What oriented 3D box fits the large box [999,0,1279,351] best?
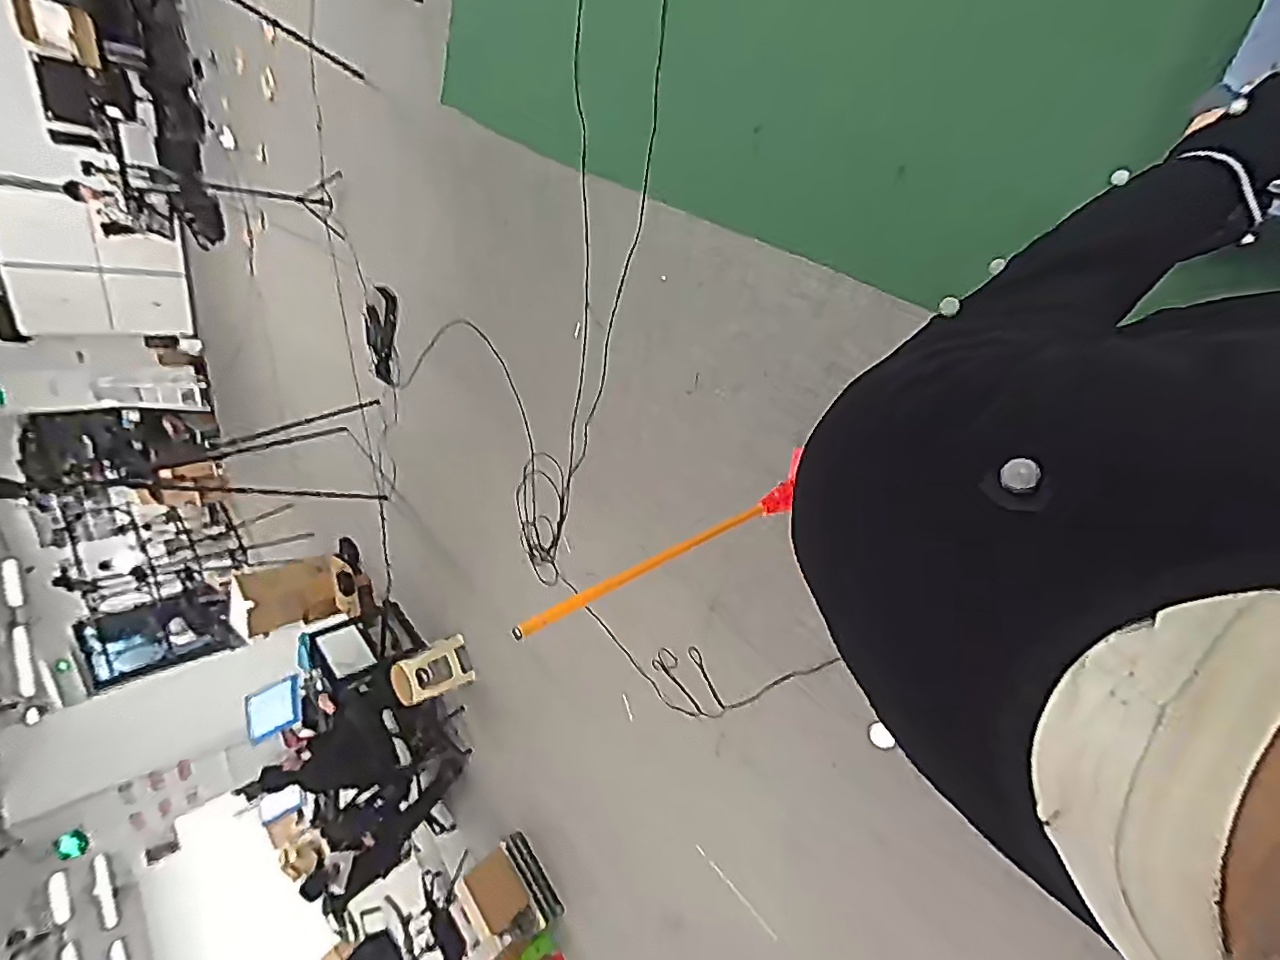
[{"bbox_3d":[0.521,-0.229,0.268,0.408,0.320,0.320,19,102,-2],"label":"large box"}]
